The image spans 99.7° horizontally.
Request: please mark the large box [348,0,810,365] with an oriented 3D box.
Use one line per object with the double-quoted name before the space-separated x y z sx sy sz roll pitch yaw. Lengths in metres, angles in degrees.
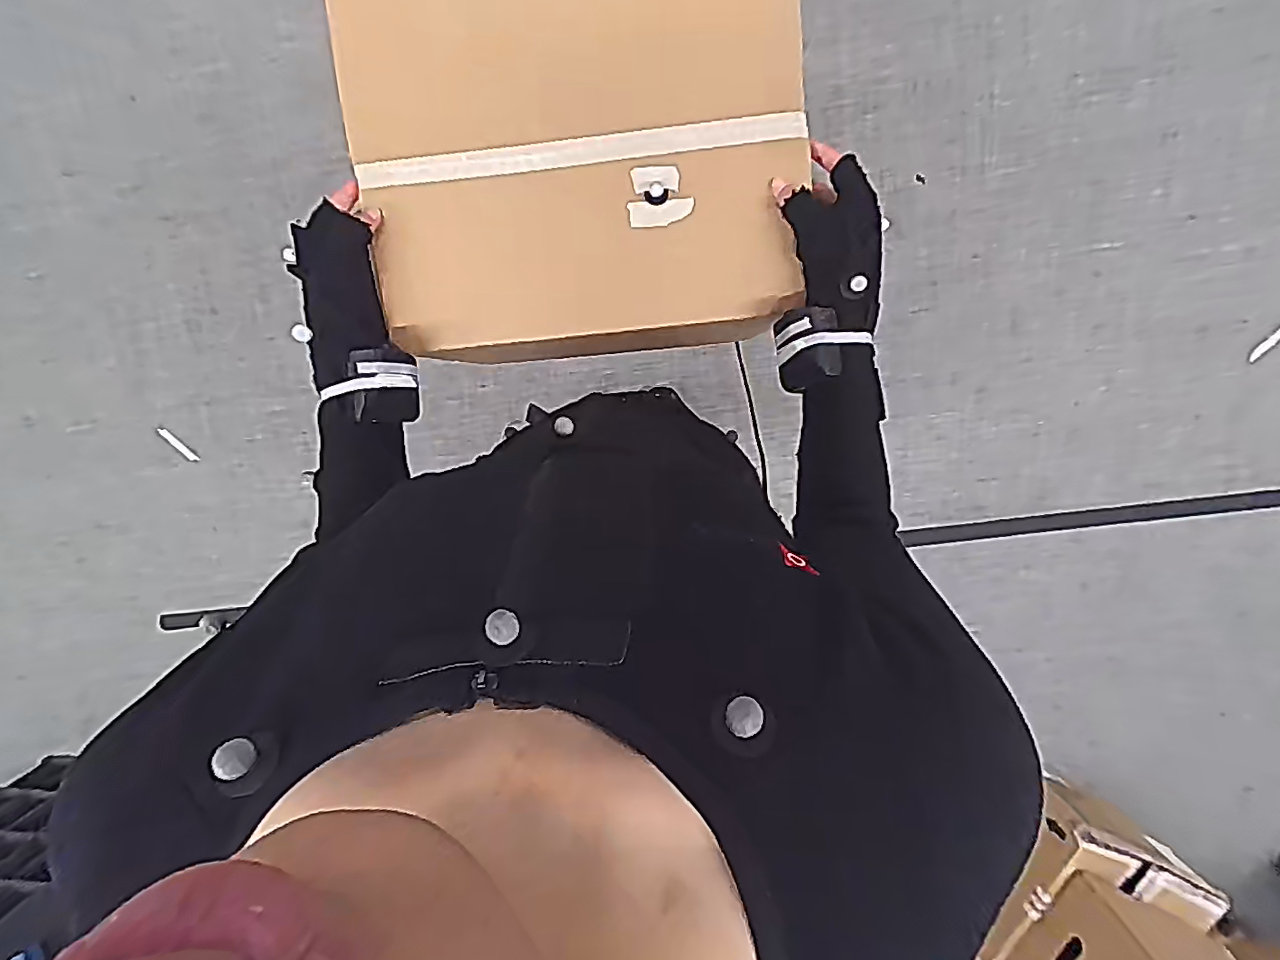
"large box" -0.049 -0.322 0.643 0.408 0.320 0.320 -5 100 2
